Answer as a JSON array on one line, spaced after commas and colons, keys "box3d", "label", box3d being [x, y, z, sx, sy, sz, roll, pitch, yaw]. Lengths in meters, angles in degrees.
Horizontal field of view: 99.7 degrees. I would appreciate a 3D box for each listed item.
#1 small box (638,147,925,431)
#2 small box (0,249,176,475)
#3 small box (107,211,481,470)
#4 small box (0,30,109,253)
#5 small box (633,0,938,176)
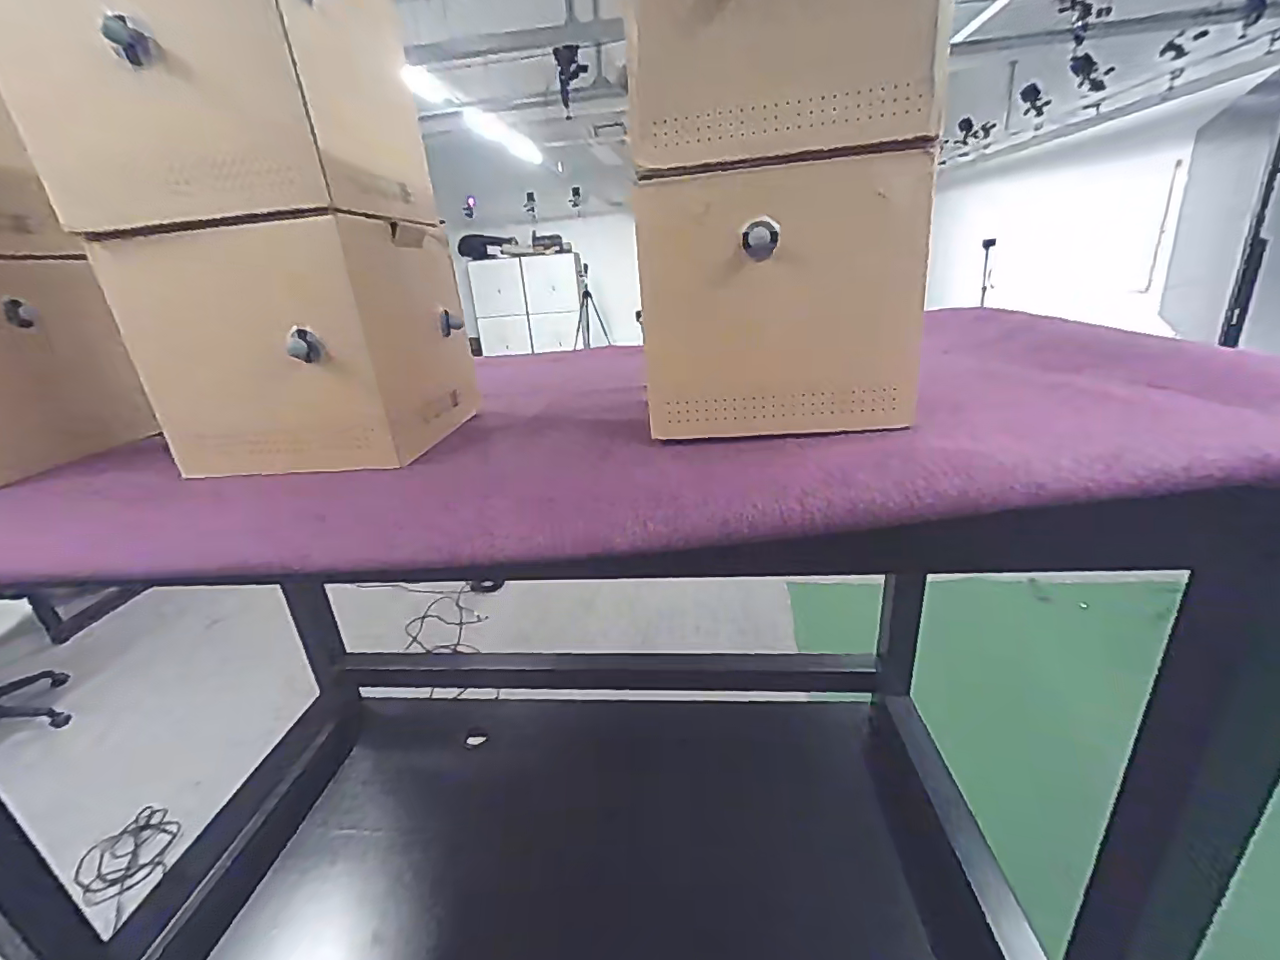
[{"box3d": [0.100, -0.137, 0.426, 0.179, 0.176, 0.168, -1, 19, 8], "label": "small box"}, {"box3d": [-0.569, -0.104, 0.470, 0.168, 0.176, 0.179, -1, 21, 5], "label": "small box"}, {"box3d": [-0.249, -0.114, 0.444, 0.179, 0.176, 0.168, -3, 21, 6], "label": "small box"}, {"box3d": [-0.585, -0.254, 0.410, 0.179, 0.176, 0.168, -2, 22, 3], "label": "small box"}, {"box3d": [0.090, -0.292, 0.374, 0.179, 0.176, 0.168, -2, 19, 9], "label": "small box"}]
